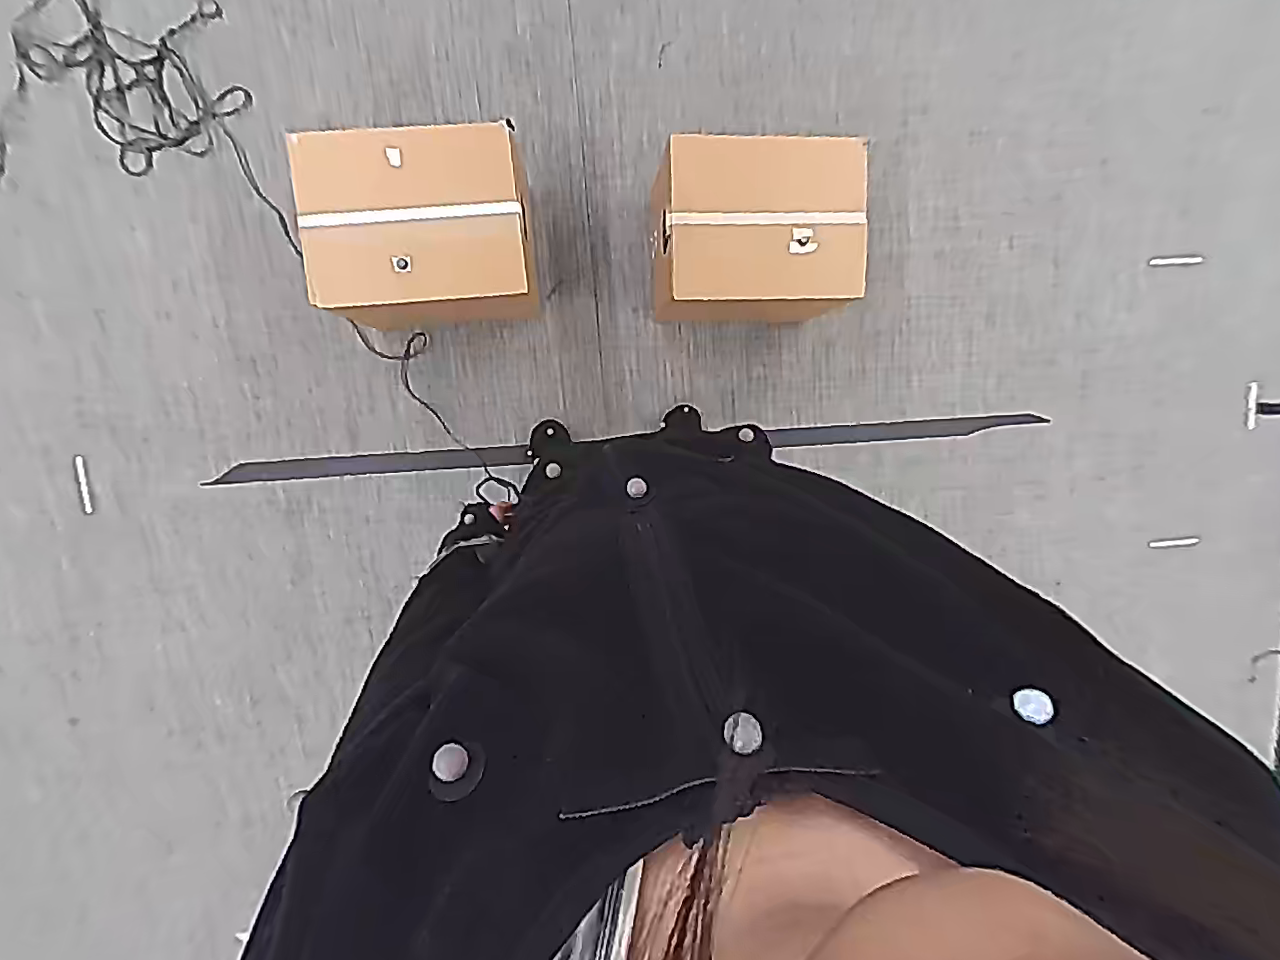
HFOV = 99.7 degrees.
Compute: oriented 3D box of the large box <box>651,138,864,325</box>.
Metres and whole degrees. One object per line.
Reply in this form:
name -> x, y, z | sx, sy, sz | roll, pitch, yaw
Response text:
large box -> 0.245, -0.542, 1.241 | 0.408, 0.320, 0.320 | -2, 97, -6
